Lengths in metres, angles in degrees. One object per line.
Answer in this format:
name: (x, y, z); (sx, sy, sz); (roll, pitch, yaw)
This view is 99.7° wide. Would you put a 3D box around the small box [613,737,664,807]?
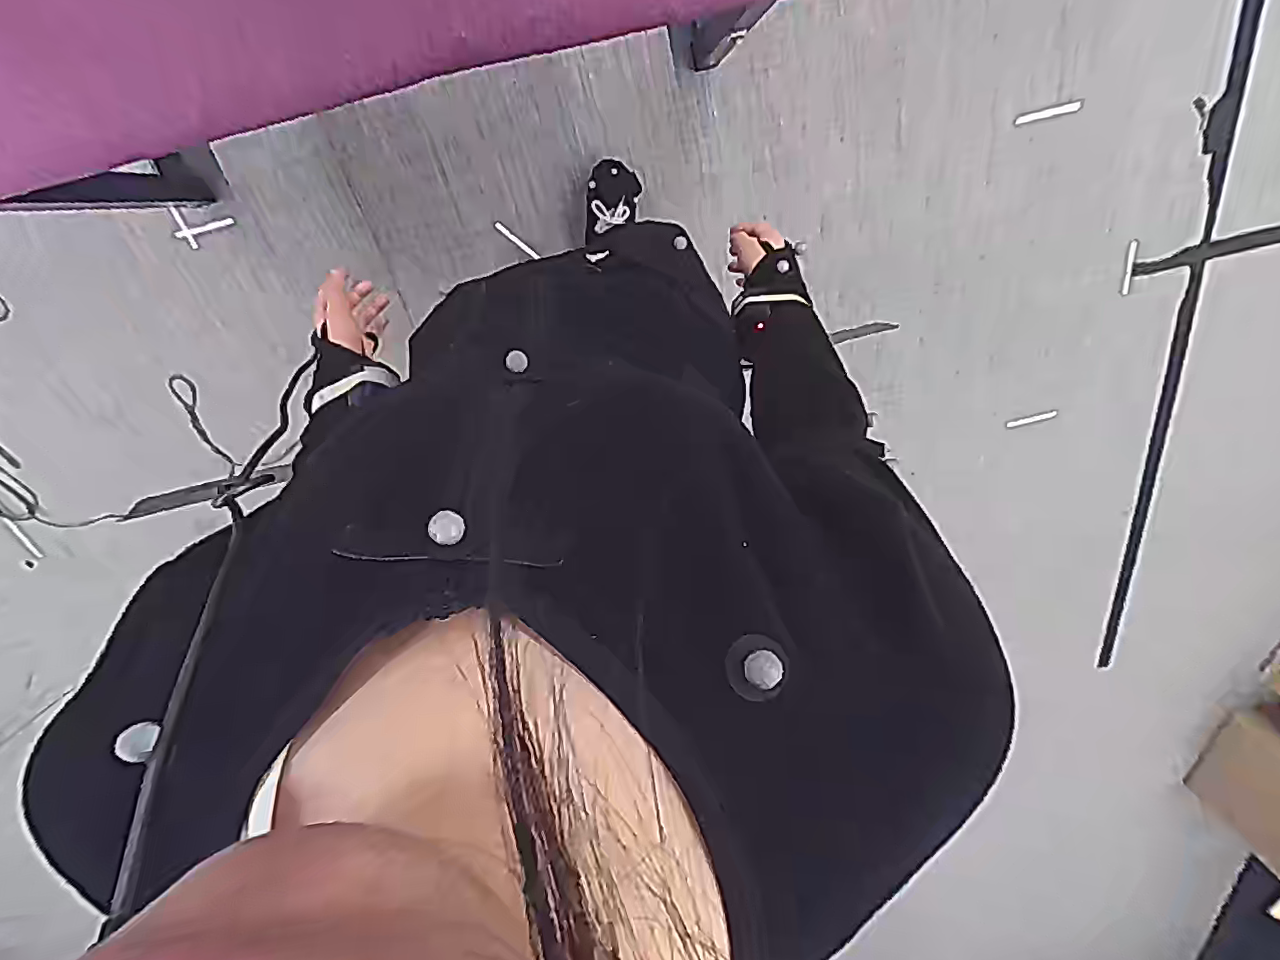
small box: (-0.009, 1.113, 2.077); (0.168, 0.176, 0.179); (-11, 118, 2)
